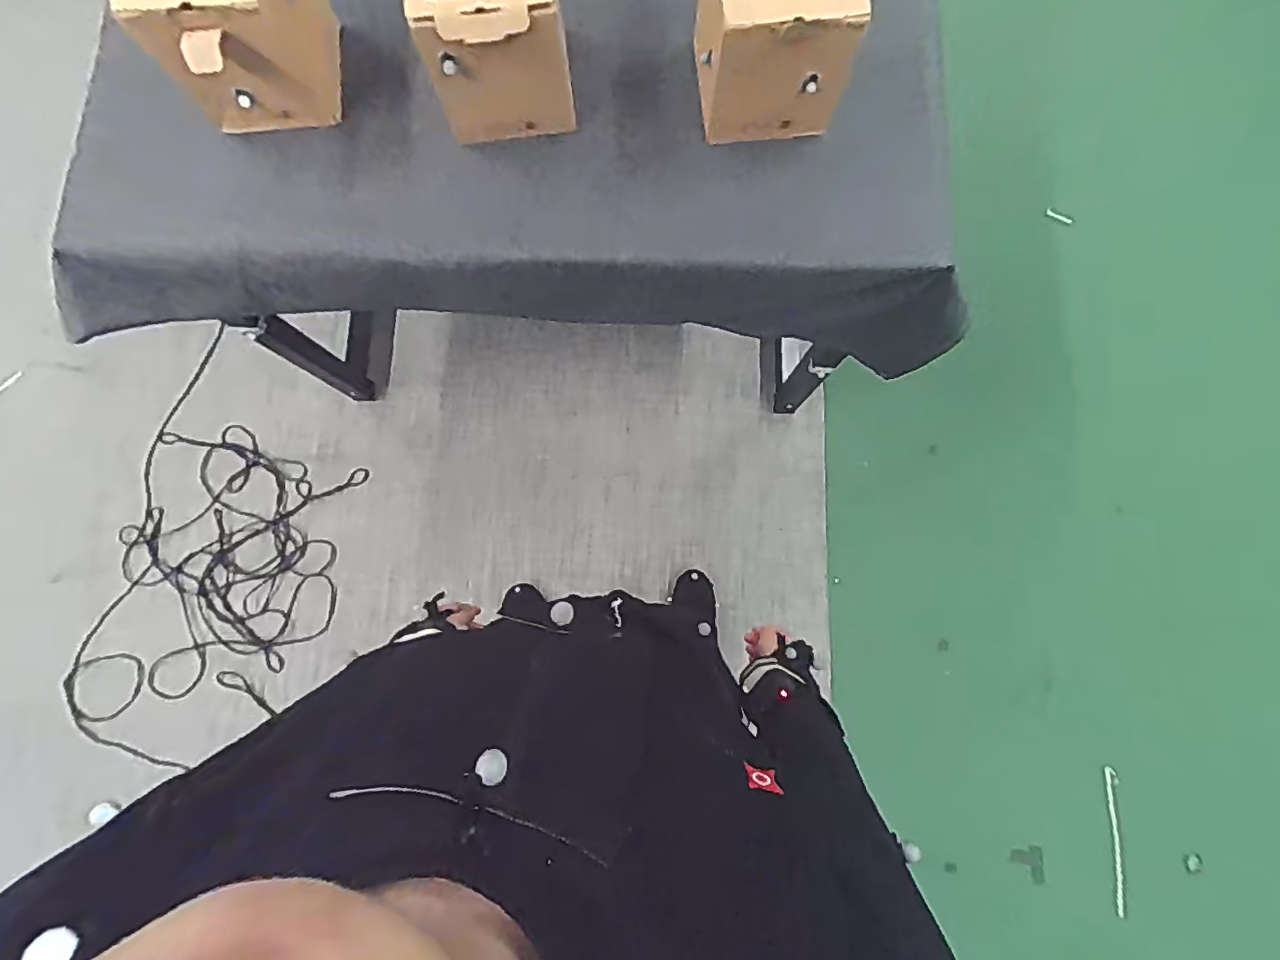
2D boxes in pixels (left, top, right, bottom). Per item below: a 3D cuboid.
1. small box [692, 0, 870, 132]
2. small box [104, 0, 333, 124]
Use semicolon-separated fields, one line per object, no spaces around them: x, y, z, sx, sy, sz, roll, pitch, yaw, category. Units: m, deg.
0.162;-0.571;0.678;0.168;0.176;0.179;-5;79;-2;small box
-0.511;-0.591;0.677;0.168;0.176;0.179;-6;81;-2;small box
